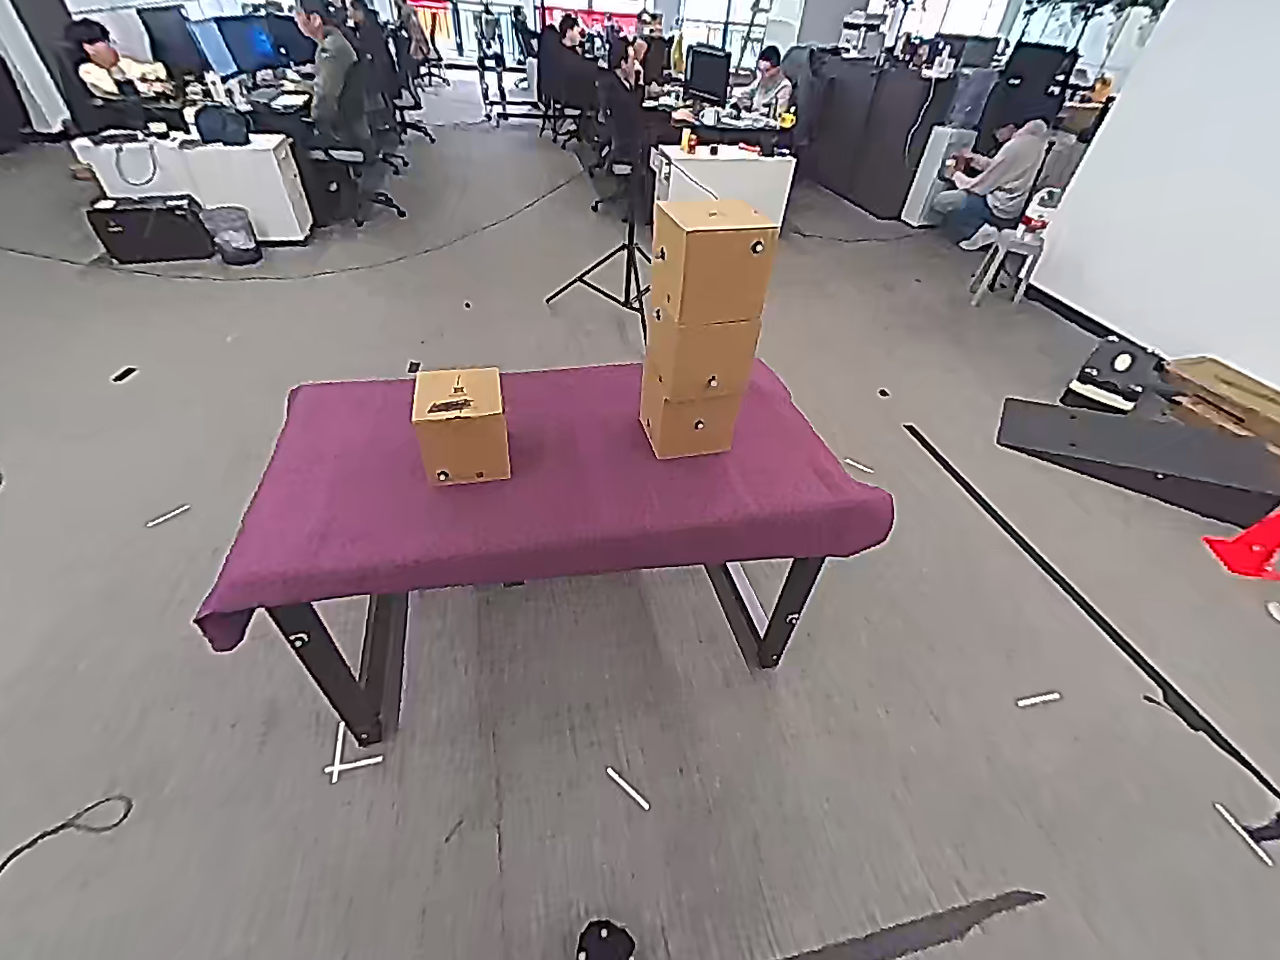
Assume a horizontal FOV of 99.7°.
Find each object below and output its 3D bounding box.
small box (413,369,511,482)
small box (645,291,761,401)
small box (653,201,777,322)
[{"bbox_3d":[-0.363,-0.109,1.123,0.168,0.176,0.179,-6,42,-13],"label":"small box"},{"bbox_3d":[0.121,-0.280,1.114,0.179,0.176,0.168,-10,43,-16],"label":"small box"},{"bbox_3d":[0.127,-0.407,1.011,0.179,0.176,0.168,-10,44,-15],"label":"small box"}]
